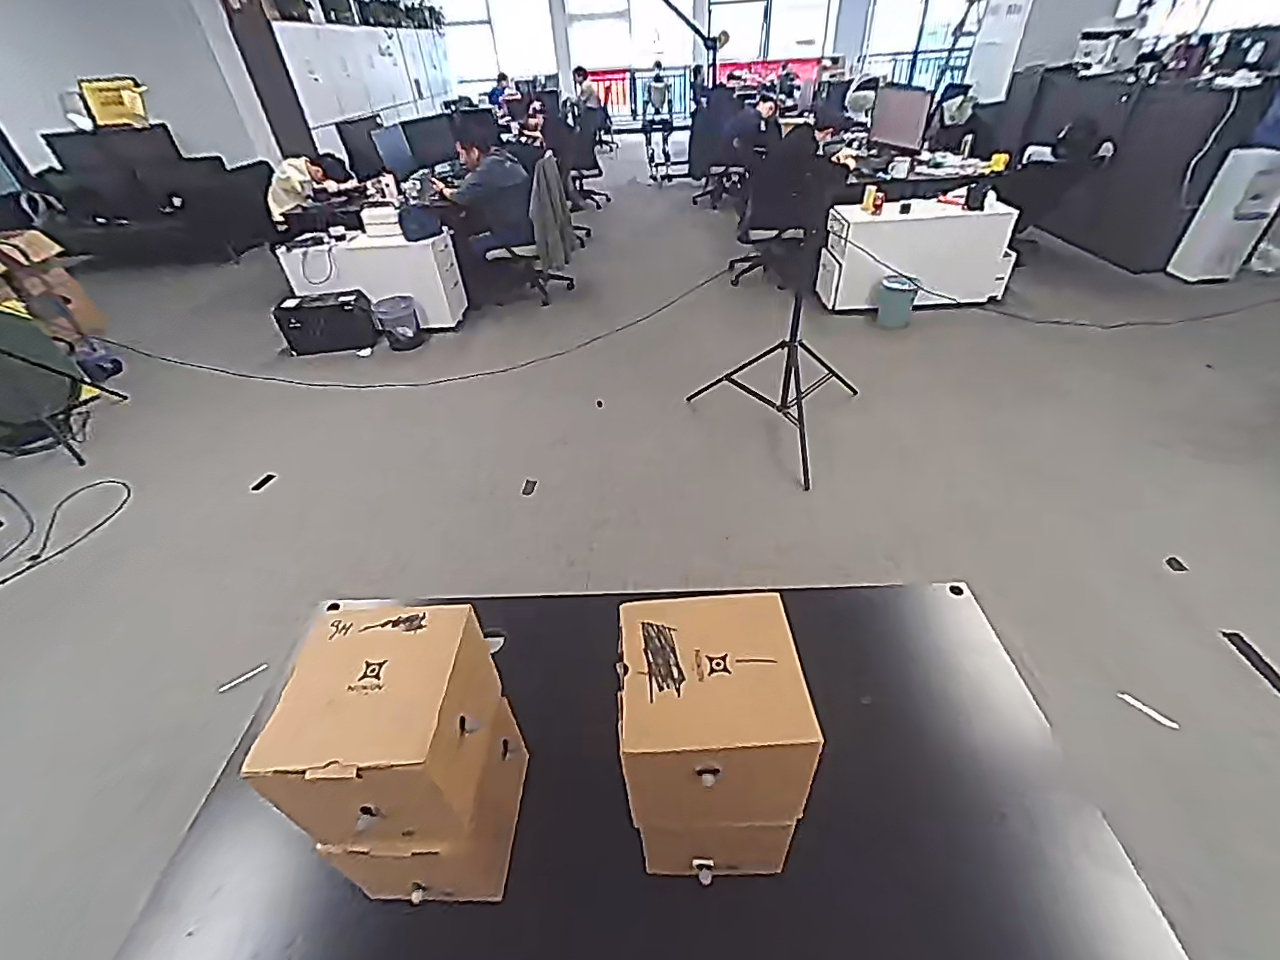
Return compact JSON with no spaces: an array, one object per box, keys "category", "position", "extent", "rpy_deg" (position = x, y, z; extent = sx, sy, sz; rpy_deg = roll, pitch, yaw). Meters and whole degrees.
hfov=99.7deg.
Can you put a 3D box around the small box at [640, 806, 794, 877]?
[{"category":"small box","position":[0.086,0.370,0.683],"extent":[0.168,0.176,0.179],"rpy_deg":[-4,39,3]}]

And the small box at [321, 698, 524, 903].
[{"category":"small box","position":[-0.250,0.397,0.679],"extent":[0.168,0.176,0.179],"rpy_deg":[-2,39,4]}]

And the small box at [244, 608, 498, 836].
[{"category":"small box","position":[-0.263,0.263,0.584],"extent":[0.168,0.176,0.179],"rpy_deg":[-3,39,1]}]

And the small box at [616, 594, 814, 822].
[{"category":"small box","position":[0.070,0.244,0.579],"extent":[0.179,0.176,0.168],"rpy_deg":[-4,38,1]}]
